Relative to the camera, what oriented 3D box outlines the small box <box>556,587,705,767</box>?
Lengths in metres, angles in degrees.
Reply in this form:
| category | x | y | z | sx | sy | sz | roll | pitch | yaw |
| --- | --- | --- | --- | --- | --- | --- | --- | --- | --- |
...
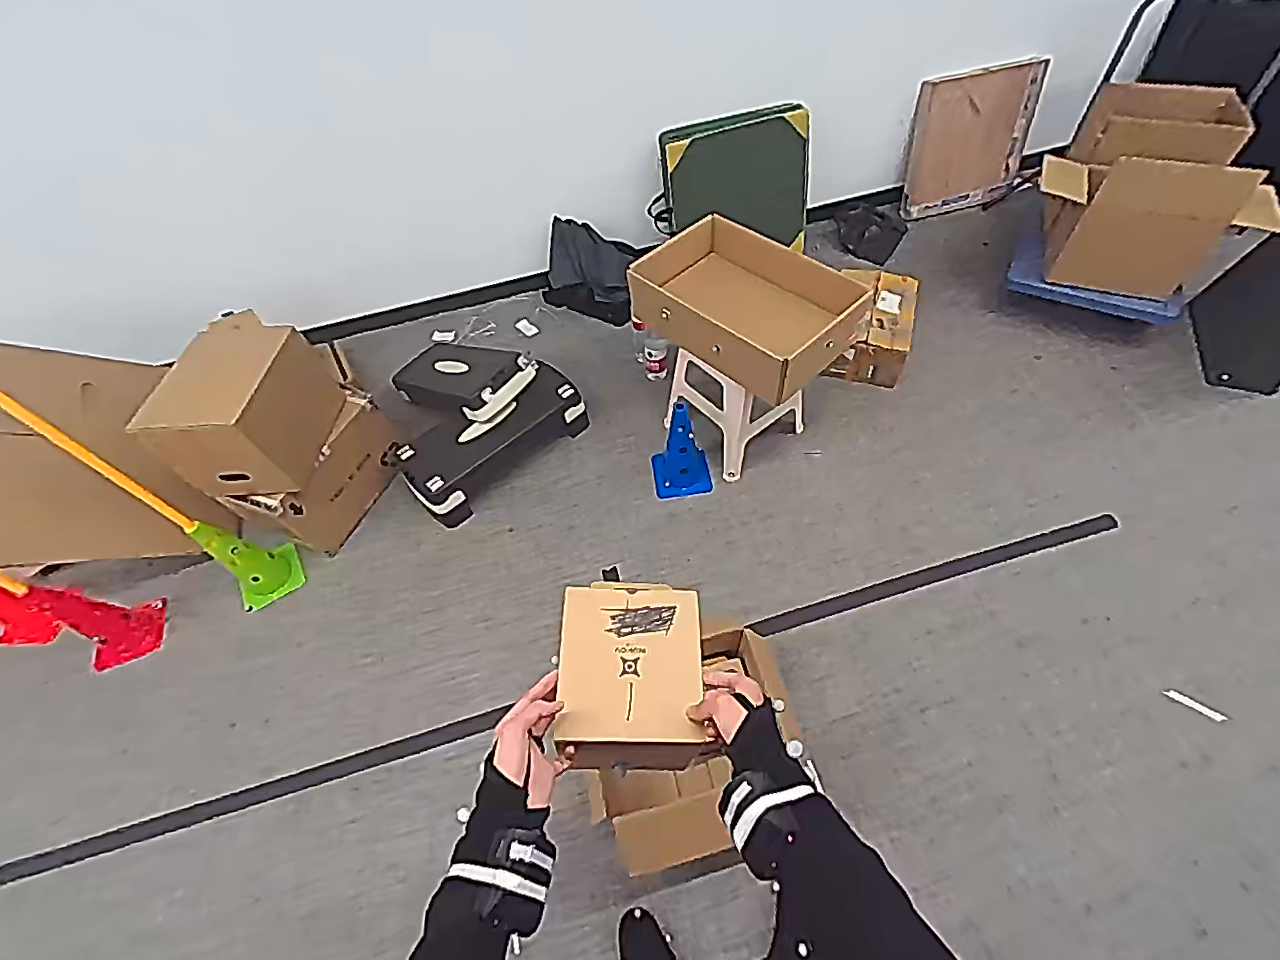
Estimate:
| category | x | y | z | sx | sy | sz | roll | pitch | yaw |
| --- | --- | --- | --- | --- | --- | --- | --- | --- | --- |
| small box | -0.015 | 0.256 | 0.696 | 0.168 | 0.176 | 0.179 | 2 | 54 | -3 |
